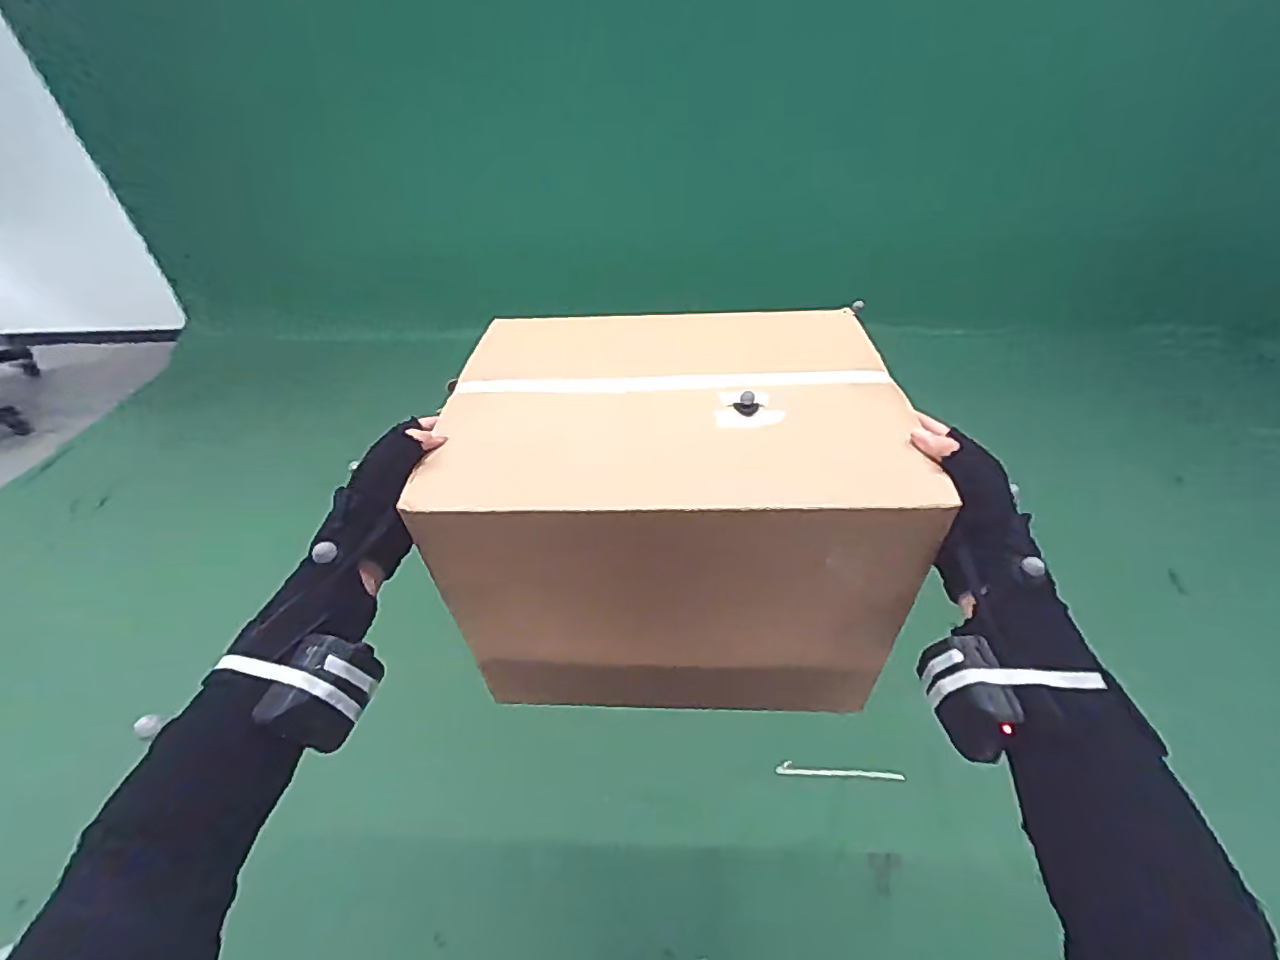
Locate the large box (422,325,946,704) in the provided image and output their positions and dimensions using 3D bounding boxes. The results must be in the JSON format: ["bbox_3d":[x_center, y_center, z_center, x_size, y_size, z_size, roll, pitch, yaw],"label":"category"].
[{"bbox_3d":[0.037,0.037,0.611,0.408,0.320,0.320,0,42,3],"label":"large box"}]
